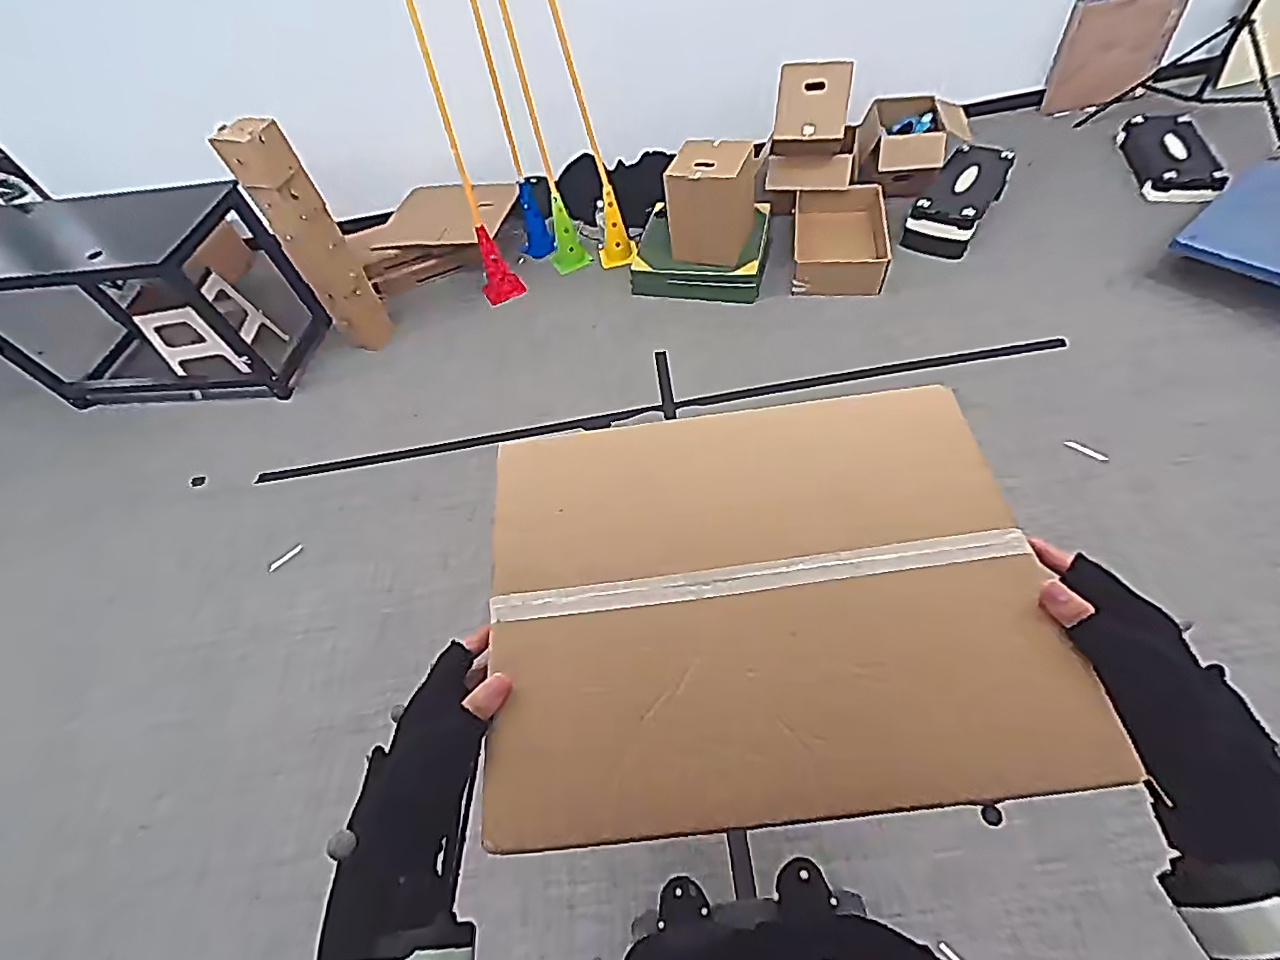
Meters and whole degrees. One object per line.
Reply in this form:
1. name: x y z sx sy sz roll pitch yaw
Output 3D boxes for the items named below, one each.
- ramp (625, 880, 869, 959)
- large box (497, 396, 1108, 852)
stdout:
1. ramp: 0.267 1.332 0.946 0.509 0.206 0.991 -9 55 0
2. large box: 0.101 0.153 0.547 0.408 0.320 0.320 -7 59 1
